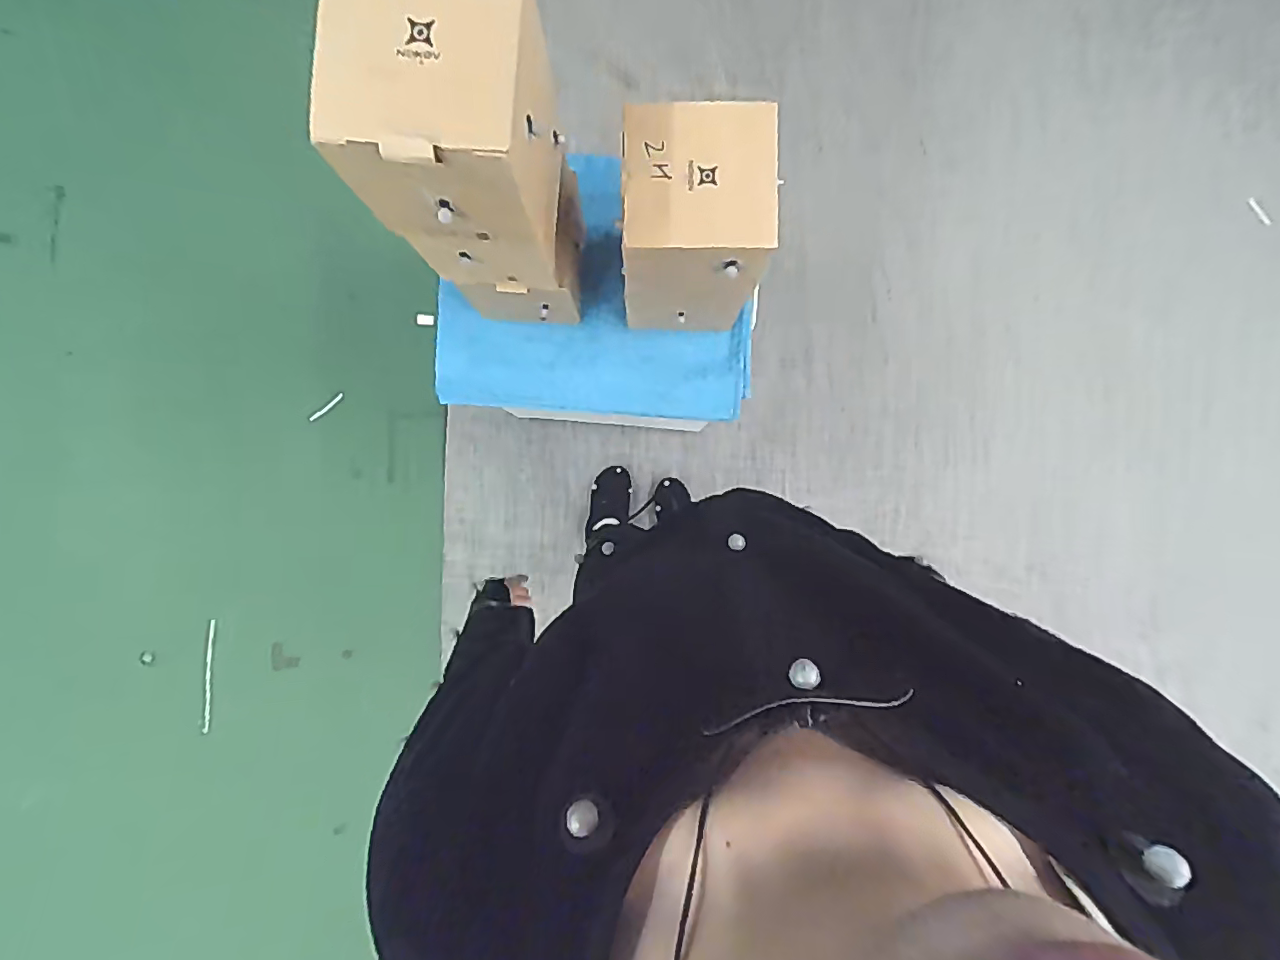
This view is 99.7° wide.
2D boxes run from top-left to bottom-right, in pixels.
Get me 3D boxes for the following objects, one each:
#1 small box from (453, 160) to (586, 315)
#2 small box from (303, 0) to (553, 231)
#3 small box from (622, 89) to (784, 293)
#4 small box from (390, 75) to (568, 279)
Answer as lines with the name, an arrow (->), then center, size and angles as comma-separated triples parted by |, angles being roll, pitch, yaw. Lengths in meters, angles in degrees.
small box -> -0.175, -0.367, 0.835 | 0.168, 0.176, 0.179 | 5, 89, -1
small box -> -0.180, -0.360, 0.510 | 0.168, 0.176, 0.179 | 5, 89, -1
small box -> 0.069, -0.342, 0.669 | 0.179, 0.176, 0.168 | 1, 89, 1
small box -> -0.186, -0.370, 0.674 | 0.168, 0.176, 0.179 | 6, 88, -1
